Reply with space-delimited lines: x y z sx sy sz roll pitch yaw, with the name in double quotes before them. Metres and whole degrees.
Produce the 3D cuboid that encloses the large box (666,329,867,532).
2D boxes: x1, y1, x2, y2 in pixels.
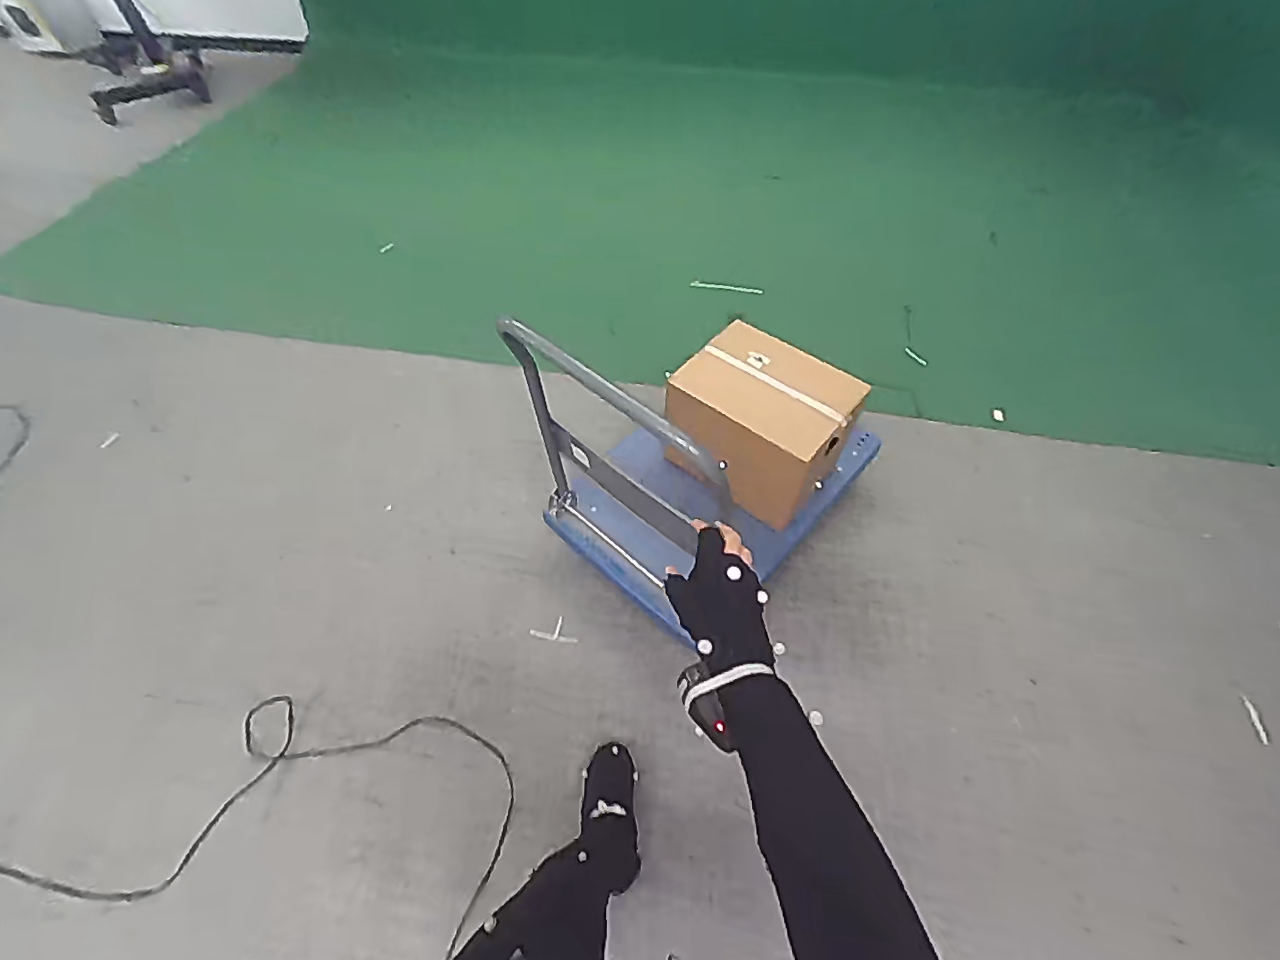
"large box" 0.320 -0.136 1.462 0.408 0.320 0.320 35 60 24
